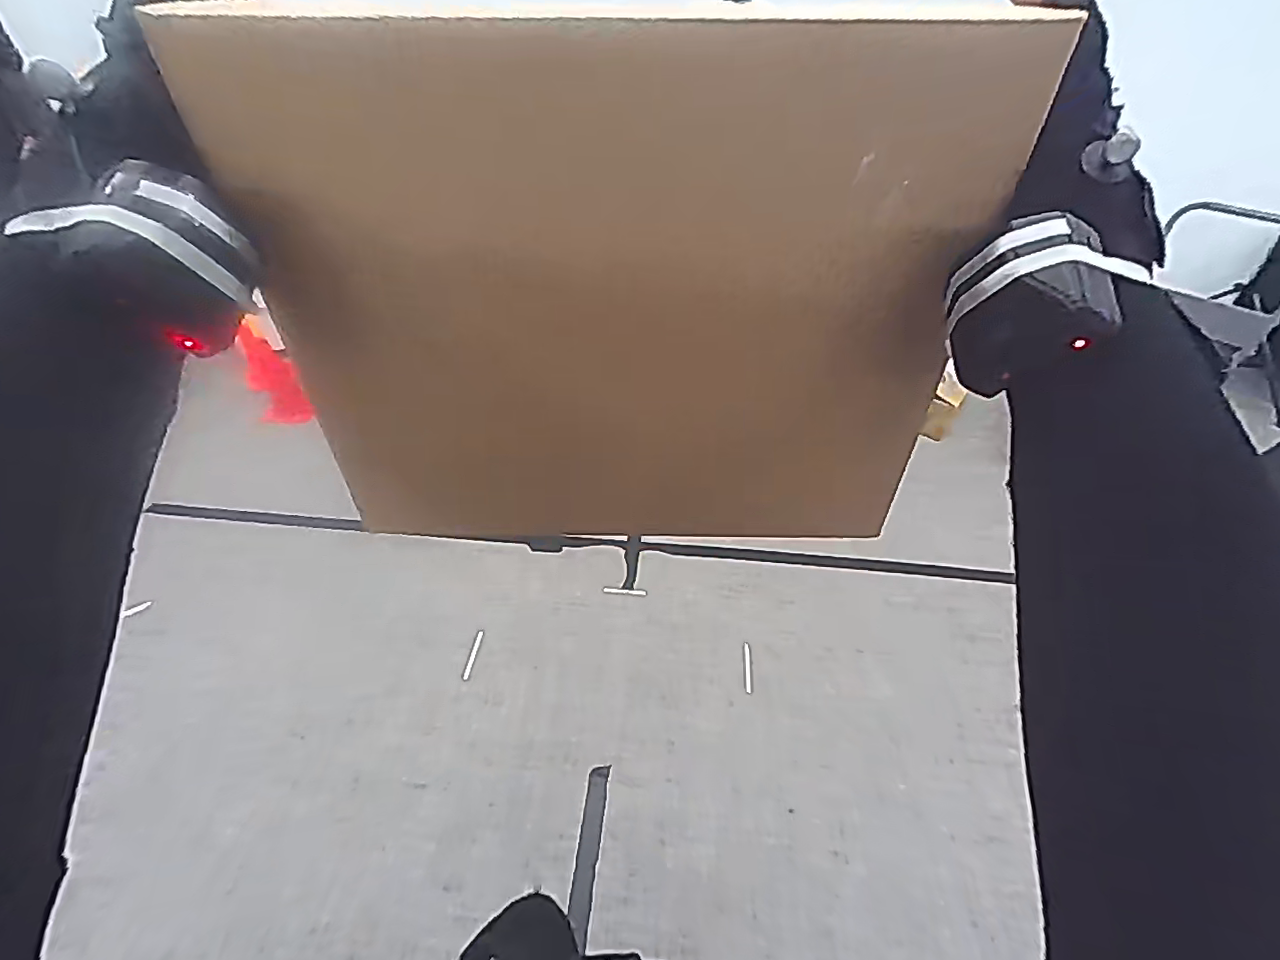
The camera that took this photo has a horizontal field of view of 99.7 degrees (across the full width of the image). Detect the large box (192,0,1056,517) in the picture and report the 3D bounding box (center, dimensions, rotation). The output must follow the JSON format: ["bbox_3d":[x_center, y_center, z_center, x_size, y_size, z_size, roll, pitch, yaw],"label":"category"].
[{"bbox_3d":[-0.009,-0.180,0.451,0.408,0.320,0.320,1,40,0],"label":"large box"}]
